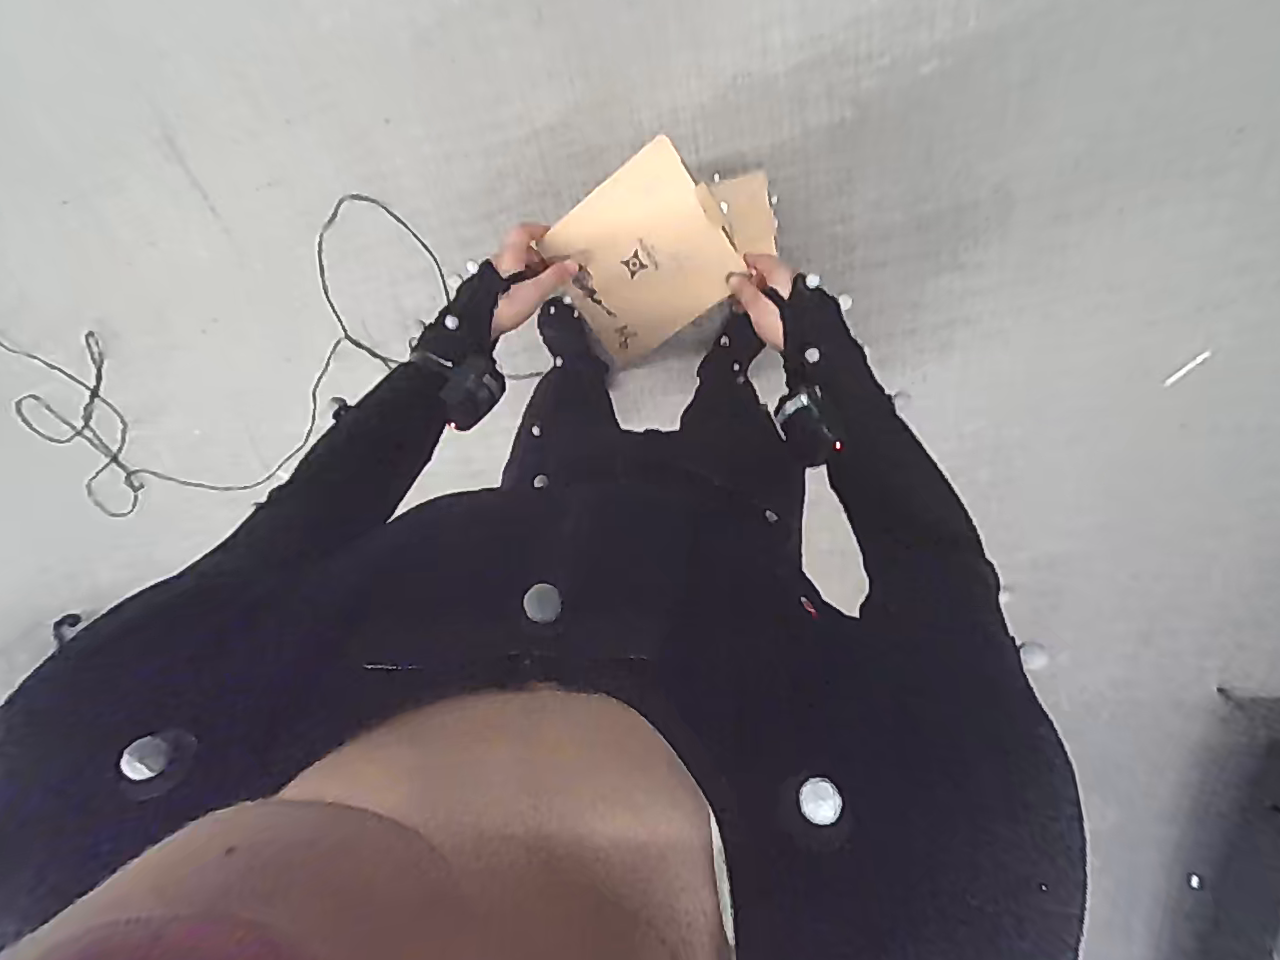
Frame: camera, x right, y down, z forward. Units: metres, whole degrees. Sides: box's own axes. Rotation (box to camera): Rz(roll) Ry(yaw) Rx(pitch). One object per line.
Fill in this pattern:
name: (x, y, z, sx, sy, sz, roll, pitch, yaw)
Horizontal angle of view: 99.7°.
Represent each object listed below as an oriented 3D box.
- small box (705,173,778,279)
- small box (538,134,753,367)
small box: (0.157, -0.463, 1.022, 0.179, 0.176, 0.168, -9, 113, 15)
small box: (0.014, -0.264, 0.642, 0.179, 0.176, 0.168, -31, 105, 19)
